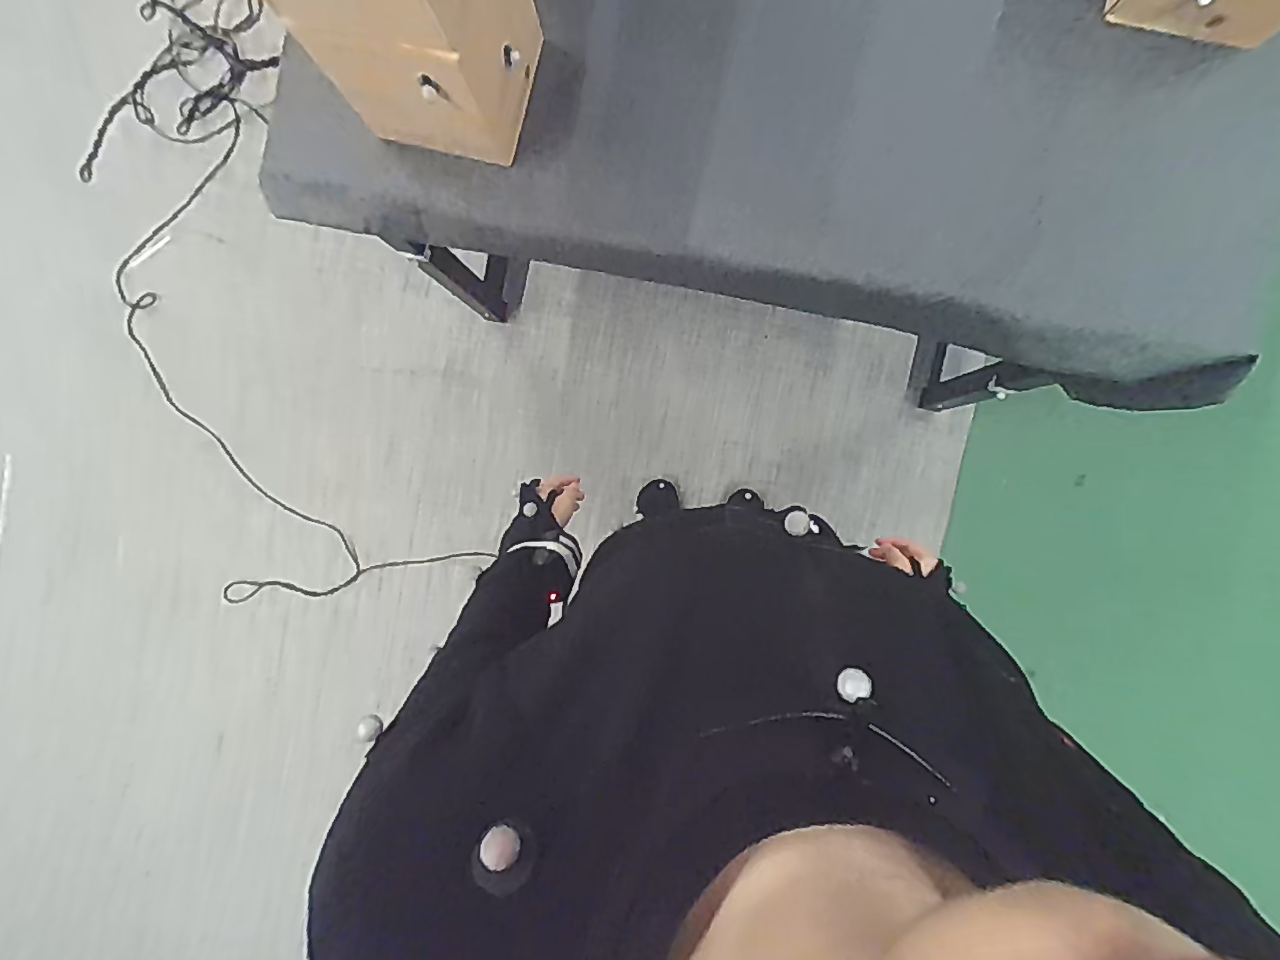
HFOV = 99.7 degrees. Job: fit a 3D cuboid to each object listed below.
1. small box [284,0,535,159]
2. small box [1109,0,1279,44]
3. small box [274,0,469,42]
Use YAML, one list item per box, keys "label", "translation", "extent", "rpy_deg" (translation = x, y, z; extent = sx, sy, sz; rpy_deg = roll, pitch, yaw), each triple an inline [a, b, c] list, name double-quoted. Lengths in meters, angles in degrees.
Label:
- label: "small box"
  translation: [-0.227, -0.482, 0.580]
  extent: [0.179, 0.176, 0.168]
  rpy_deg: [14, 90, 3]
- label: "small box"
  translation: [0.615, -0.586, 0.524]
  extent: [0.168, 0.176, 0.179]
  rpy_deg: [15, 94, 4]
- label: "small box"
  translation: [-0.238, -0.488, 0.417]
  extent: [0.179, 0.176, 0.168]
  rpy_deg: [11, 90, 4]
